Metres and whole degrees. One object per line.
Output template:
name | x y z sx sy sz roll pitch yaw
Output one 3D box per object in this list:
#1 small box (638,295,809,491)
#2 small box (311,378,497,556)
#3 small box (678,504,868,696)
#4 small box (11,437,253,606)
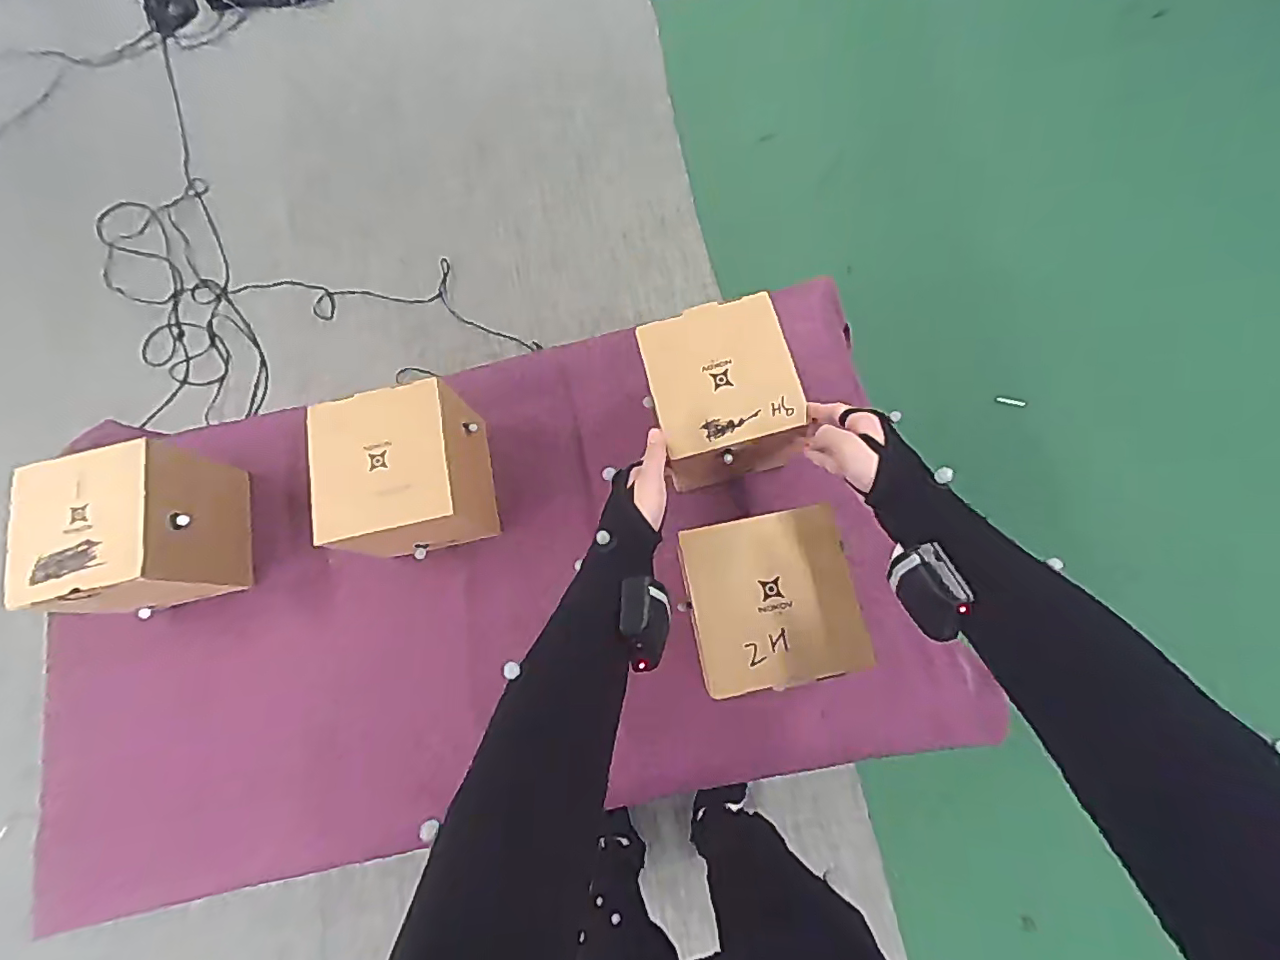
small box | 0.100 -0.102 0.701 0.168 0.176 0.179 -14 74 3
small box | -0.300 -0.008 0.711 0.168 0.176 0.179 -12 75 2
small box | 0.138 0.142 0.634 0.168 0.176 0.179 -11 74 3
small box | -0.651 0.065 0.715 0.168 0.176 0.179 -13 74 0
